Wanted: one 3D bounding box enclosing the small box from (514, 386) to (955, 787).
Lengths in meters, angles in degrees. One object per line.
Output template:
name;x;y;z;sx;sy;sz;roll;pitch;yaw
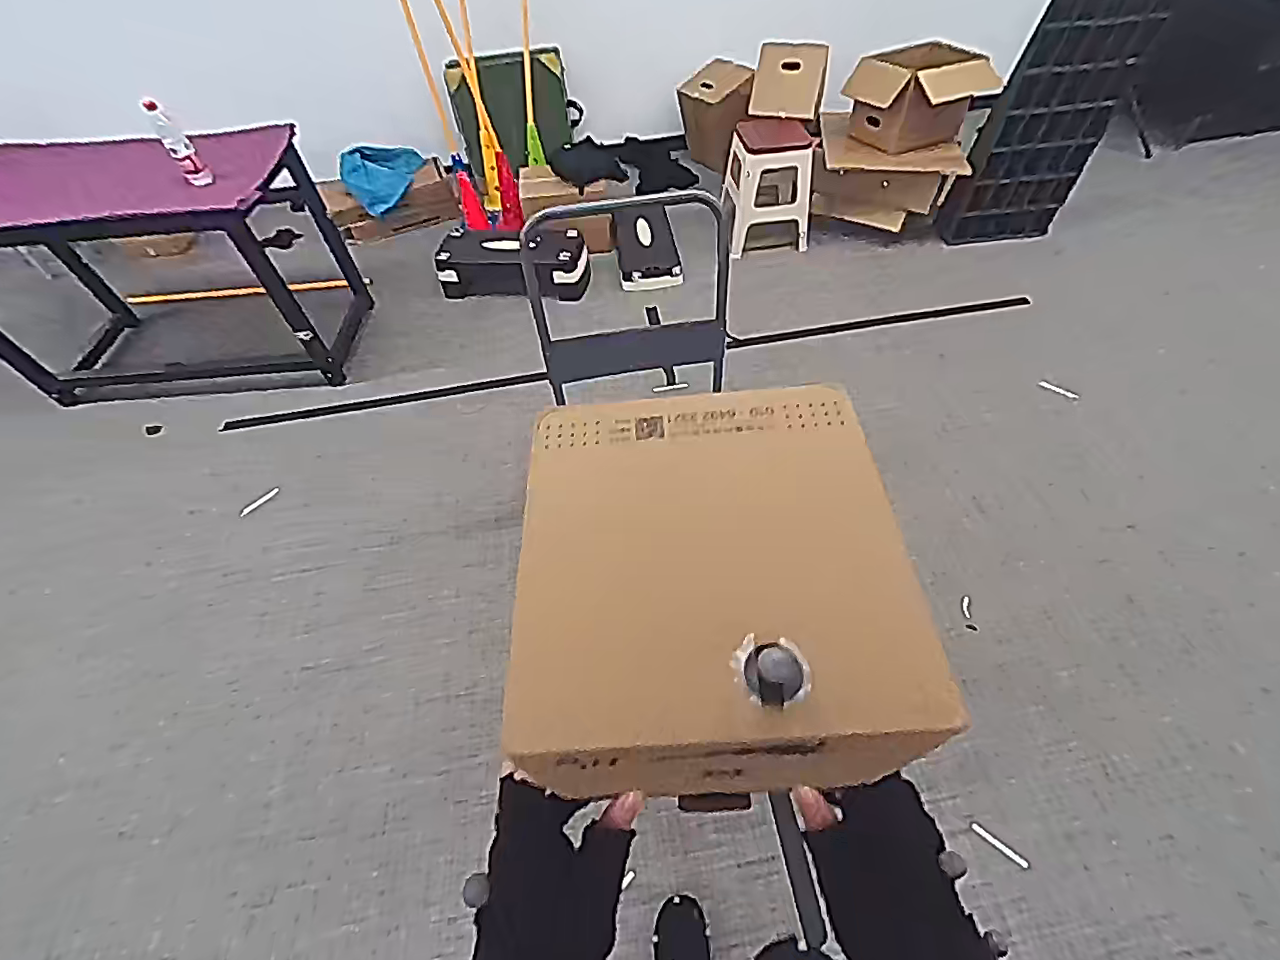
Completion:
small box;0.036;0.069;0.310;0.168;0.179;0.176;-4;55;2
